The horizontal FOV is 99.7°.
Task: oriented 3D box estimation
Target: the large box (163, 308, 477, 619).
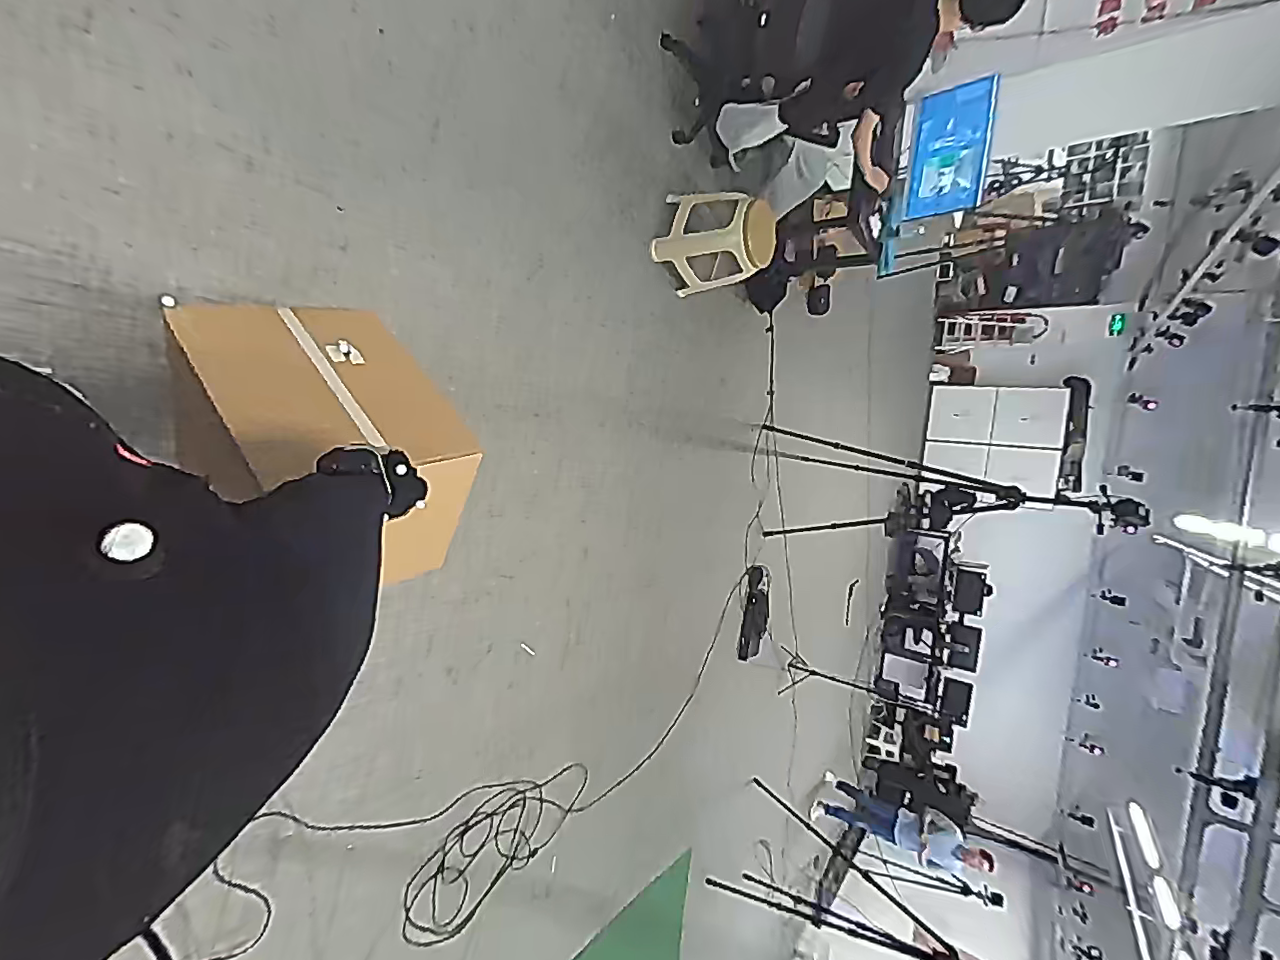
[{"bbox_3d":[-0.552,-0.047,0.937,0.320,0.408,0.320,-18,148,-48],"label":"large box"}]
